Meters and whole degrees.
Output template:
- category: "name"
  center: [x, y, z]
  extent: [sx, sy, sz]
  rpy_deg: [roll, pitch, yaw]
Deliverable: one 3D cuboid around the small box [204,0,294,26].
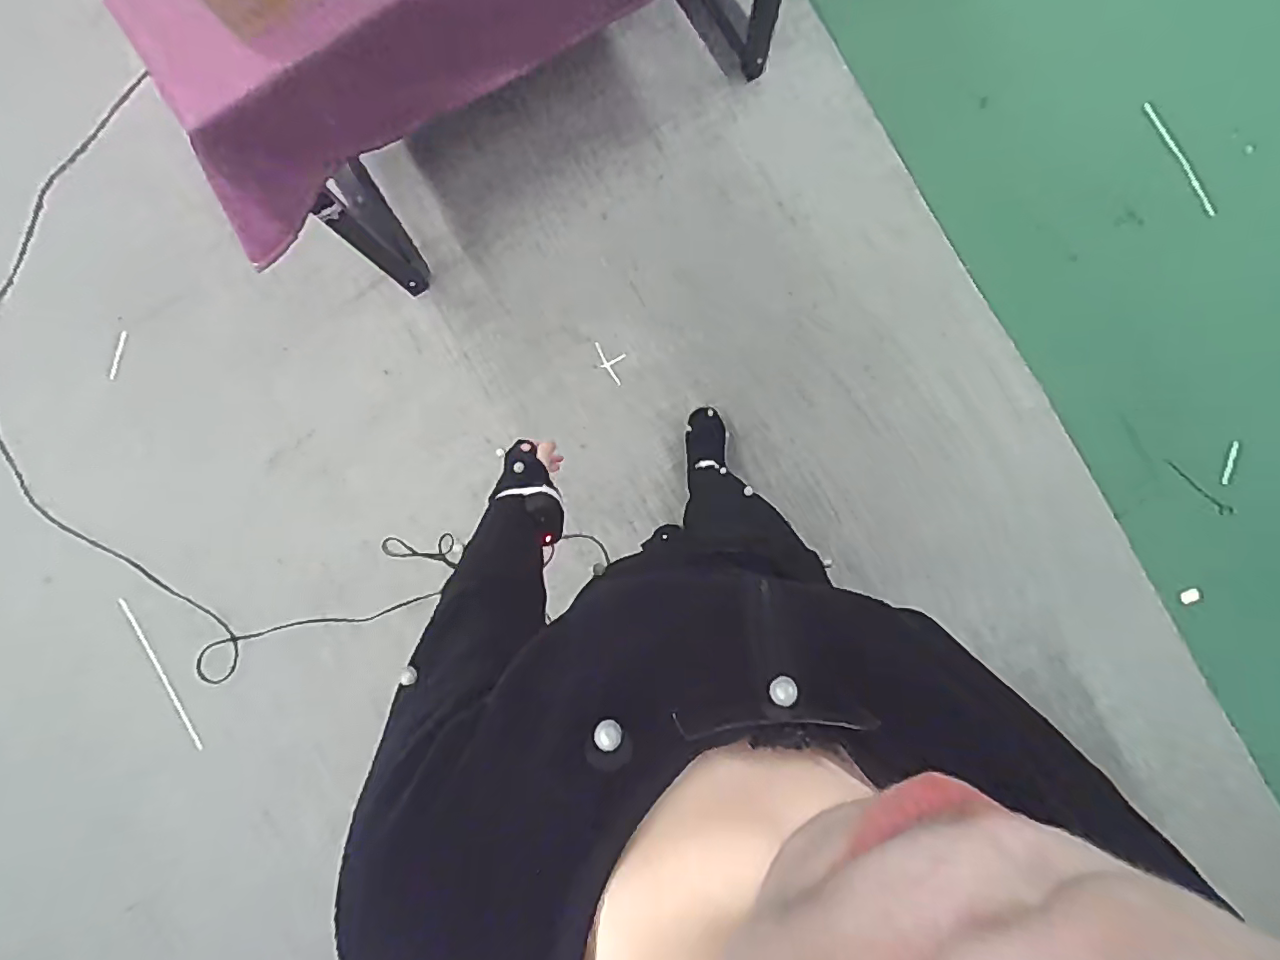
- category: "small box"
  center: [-0.571, -0.765, 0.720]
  extent: [0.168, 0.176, 0.179]
  rpy_deg: [-34, 87, -1]
